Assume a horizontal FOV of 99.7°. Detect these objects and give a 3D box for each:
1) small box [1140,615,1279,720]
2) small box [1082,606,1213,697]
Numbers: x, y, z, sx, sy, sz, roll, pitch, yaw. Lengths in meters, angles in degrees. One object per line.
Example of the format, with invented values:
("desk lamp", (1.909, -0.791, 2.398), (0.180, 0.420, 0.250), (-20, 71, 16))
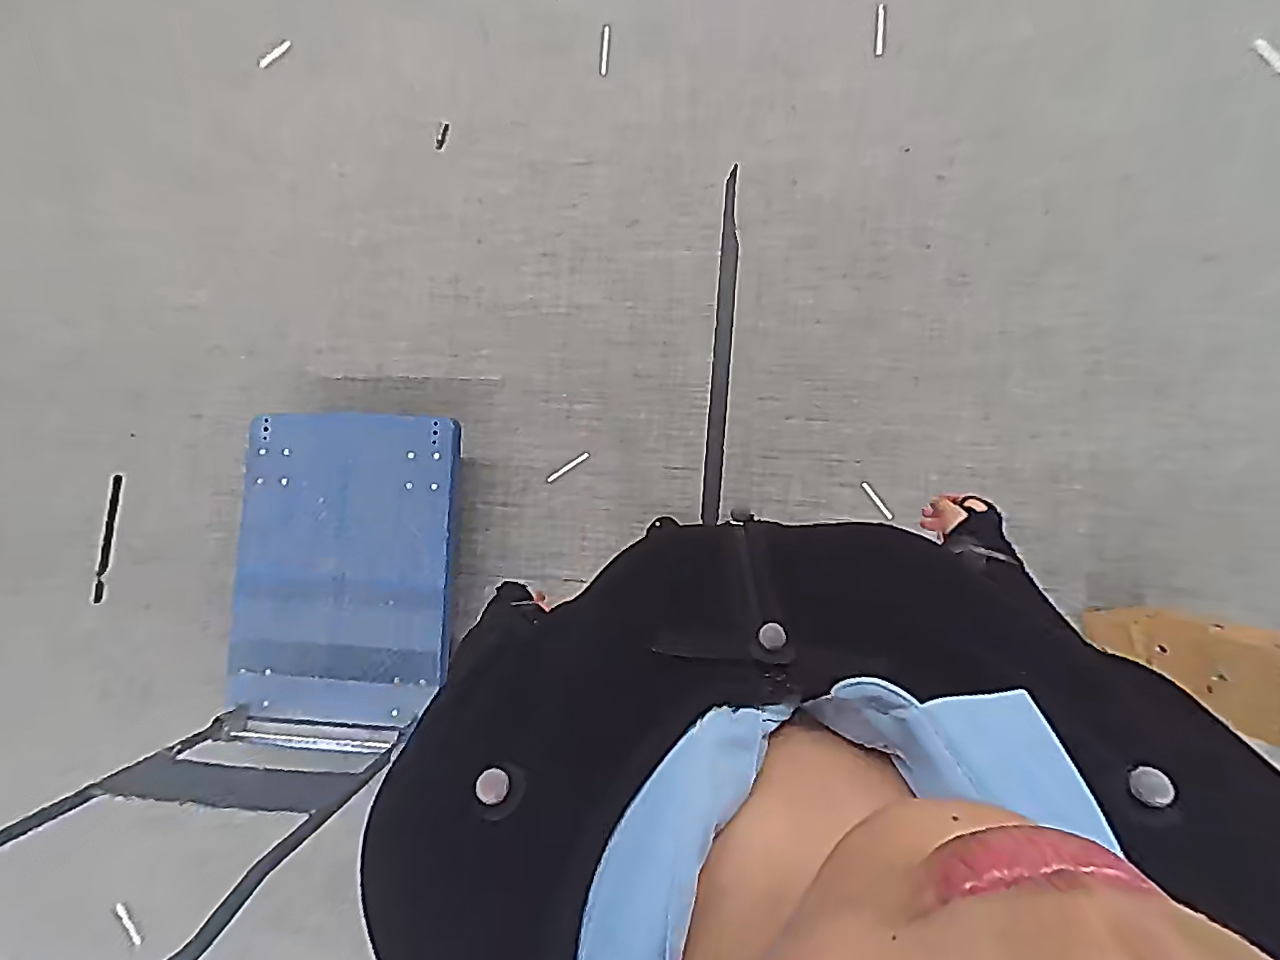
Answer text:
("small box", (1.219, 0.387, 1.141), (0.179, 0.176, 0.168), (4, 86, 6))
("small box", (1.228, 0.406, 1.303), (0.179, 0.176, 0.168), (-8, 84, 5))
